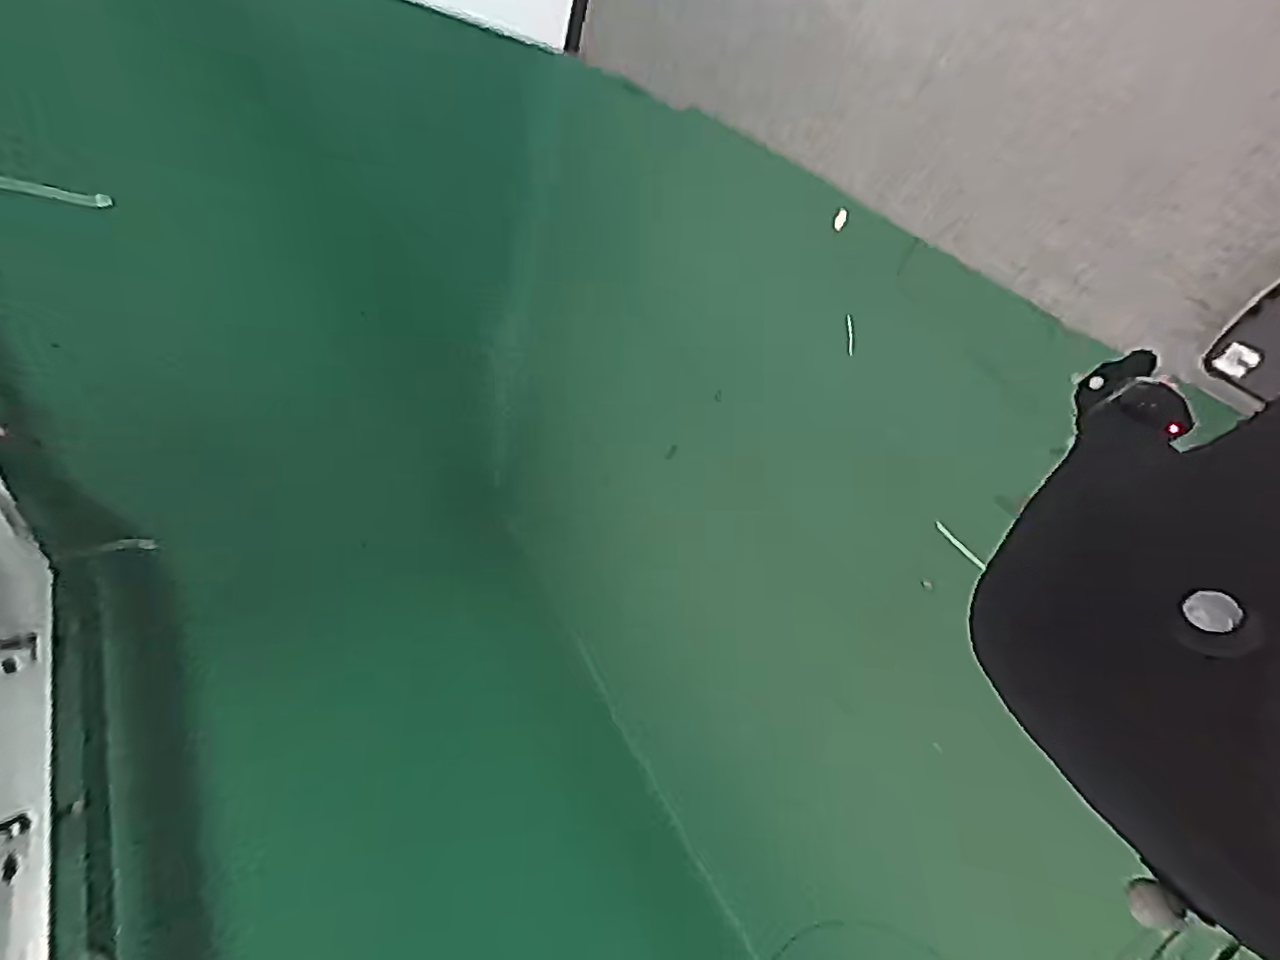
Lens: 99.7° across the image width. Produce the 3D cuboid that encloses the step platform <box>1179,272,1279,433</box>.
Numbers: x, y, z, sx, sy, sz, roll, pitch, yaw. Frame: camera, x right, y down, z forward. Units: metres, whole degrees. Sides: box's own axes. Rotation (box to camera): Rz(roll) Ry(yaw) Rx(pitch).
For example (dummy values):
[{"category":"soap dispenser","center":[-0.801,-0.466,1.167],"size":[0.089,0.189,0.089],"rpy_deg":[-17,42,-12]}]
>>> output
[{"category":"step platform","center":[1.230,-0.073,0.766],"size":[0.684,0.204,0.286],"rpy_deg":[50,134,30]}]
